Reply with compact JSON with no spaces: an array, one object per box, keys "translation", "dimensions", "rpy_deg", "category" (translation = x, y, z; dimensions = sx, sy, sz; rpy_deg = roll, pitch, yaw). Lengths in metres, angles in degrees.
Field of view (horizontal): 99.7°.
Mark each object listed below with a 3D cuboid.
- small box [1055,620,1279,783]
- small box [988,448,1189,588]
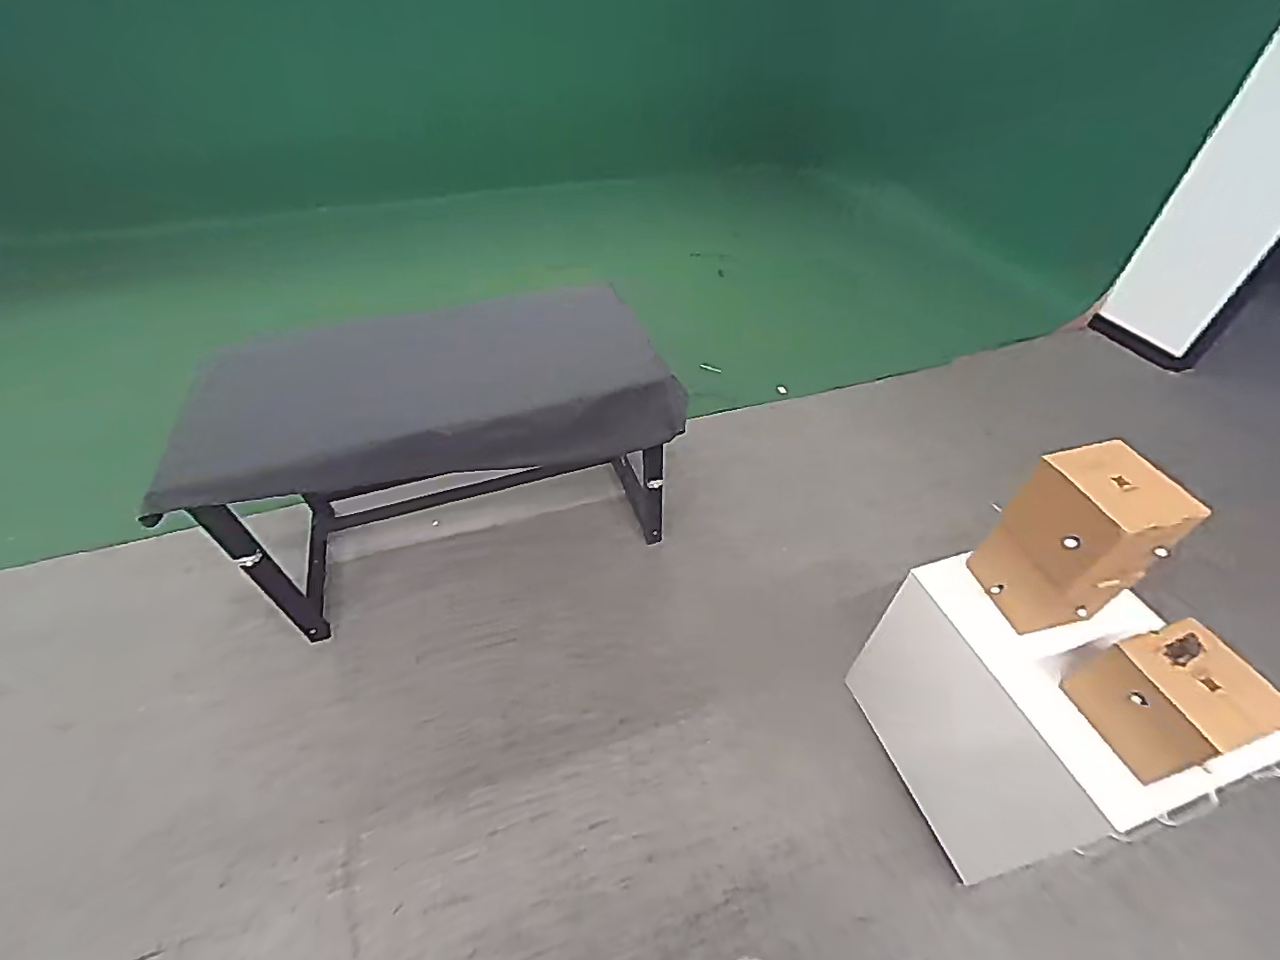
[{"translation":[0.854,0.366,0.898],"dimensions":[0.168,0.176,0.179],"rpy_deg":[-12,47,-14],"category":"small box"},{"translation":[0.776,0.072,0.959],"dimensions":[0.168,0.176,0.179],"rpy_deg":[-10,46,-14],"category":"small box"}]
